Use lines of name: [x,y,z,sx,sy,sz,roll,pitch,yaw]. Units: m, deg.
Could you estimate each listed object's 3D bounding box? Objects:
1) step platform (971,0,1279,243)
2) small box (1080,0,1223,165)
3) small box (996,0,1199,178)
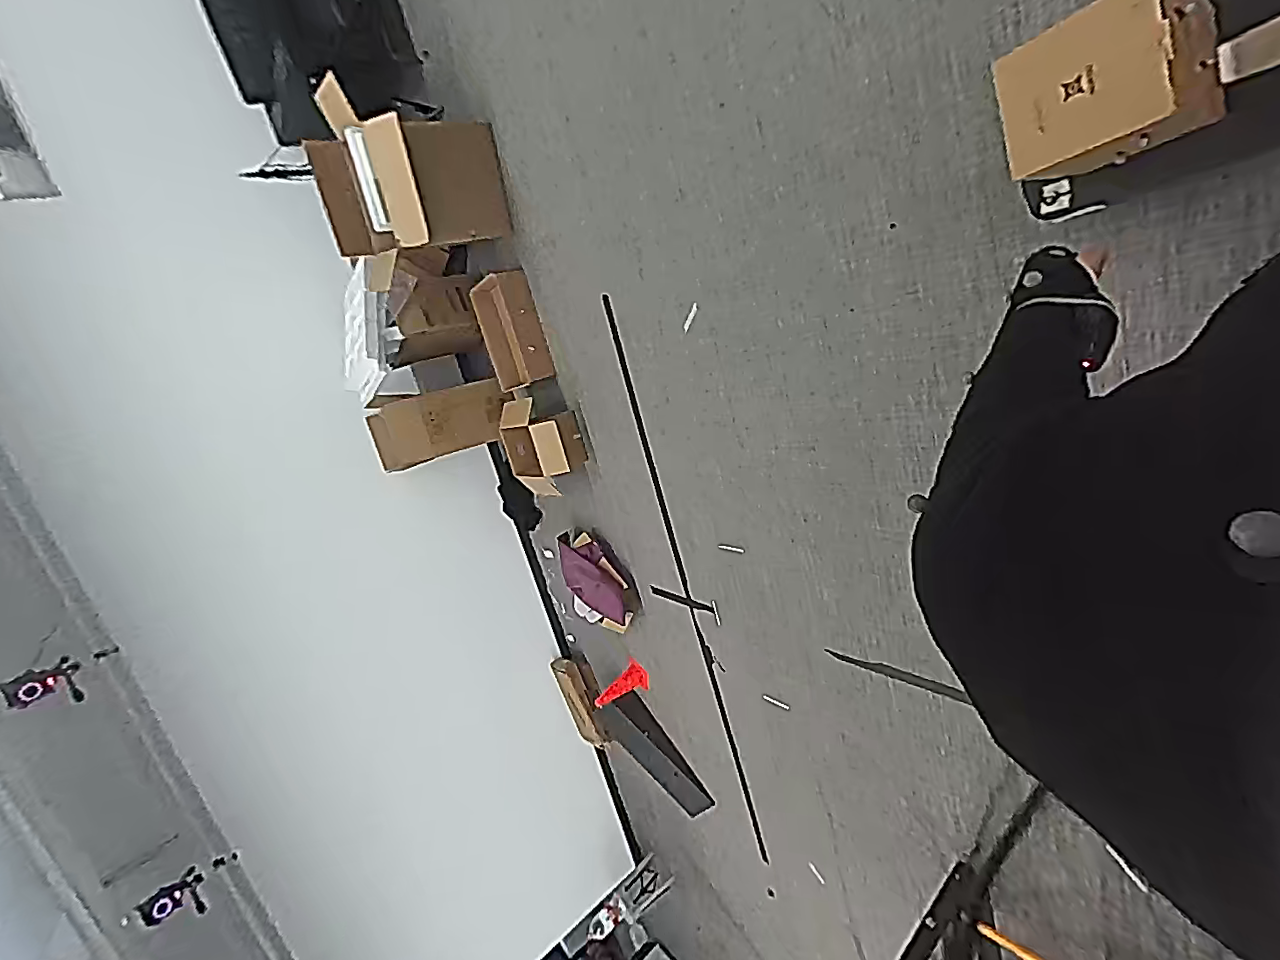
step platform: [0.835,-0.558,0.693,0.684,0.204,0.286,0,110,54]
small box: [0.761,-0.605,0.836,0.179,0.176,0.168,-2,109,56]
small box: [0.636,-0.547,0.748,0.179,0.176,0.168,-4,106,56]
